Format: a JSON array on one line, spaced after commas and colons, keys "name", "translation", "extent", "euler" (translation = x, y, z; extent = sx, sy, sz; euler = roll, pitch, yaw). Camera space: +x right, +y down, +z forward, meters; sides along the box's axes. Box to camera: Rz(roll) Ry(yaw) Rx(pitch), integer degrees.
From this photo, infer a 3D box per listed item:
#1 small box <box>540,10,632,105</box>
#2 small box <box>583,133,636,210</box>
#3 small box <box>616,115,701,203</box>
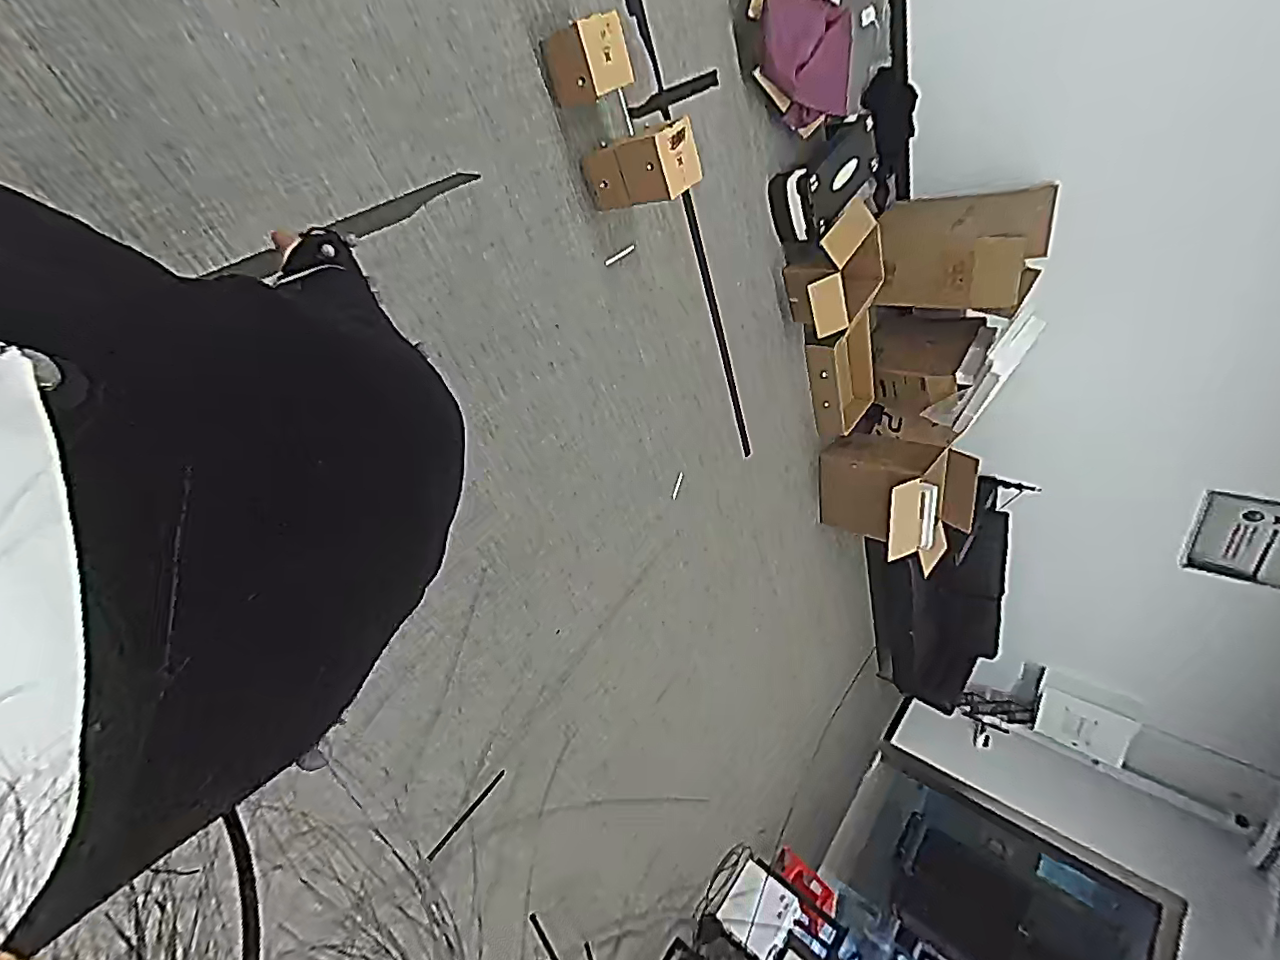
[{"name": "small box", "translation": [-0.155, -1.212, 1.564], "extent": [0.168, 0.176, 0.179], "euler": [-43, 130, -29]}, {"name": "small box", "translation": [-0.060, -0.994, 1.744], "extent": [0.179, 0.176, 0.168], "euler": [-46, 132, -26]}, {"name": "small box", "translation": [0.054, -0.959, 1.628], "extent": [0.168, 0.176, 0.179], "euler": [-46, 133, -26]}]
